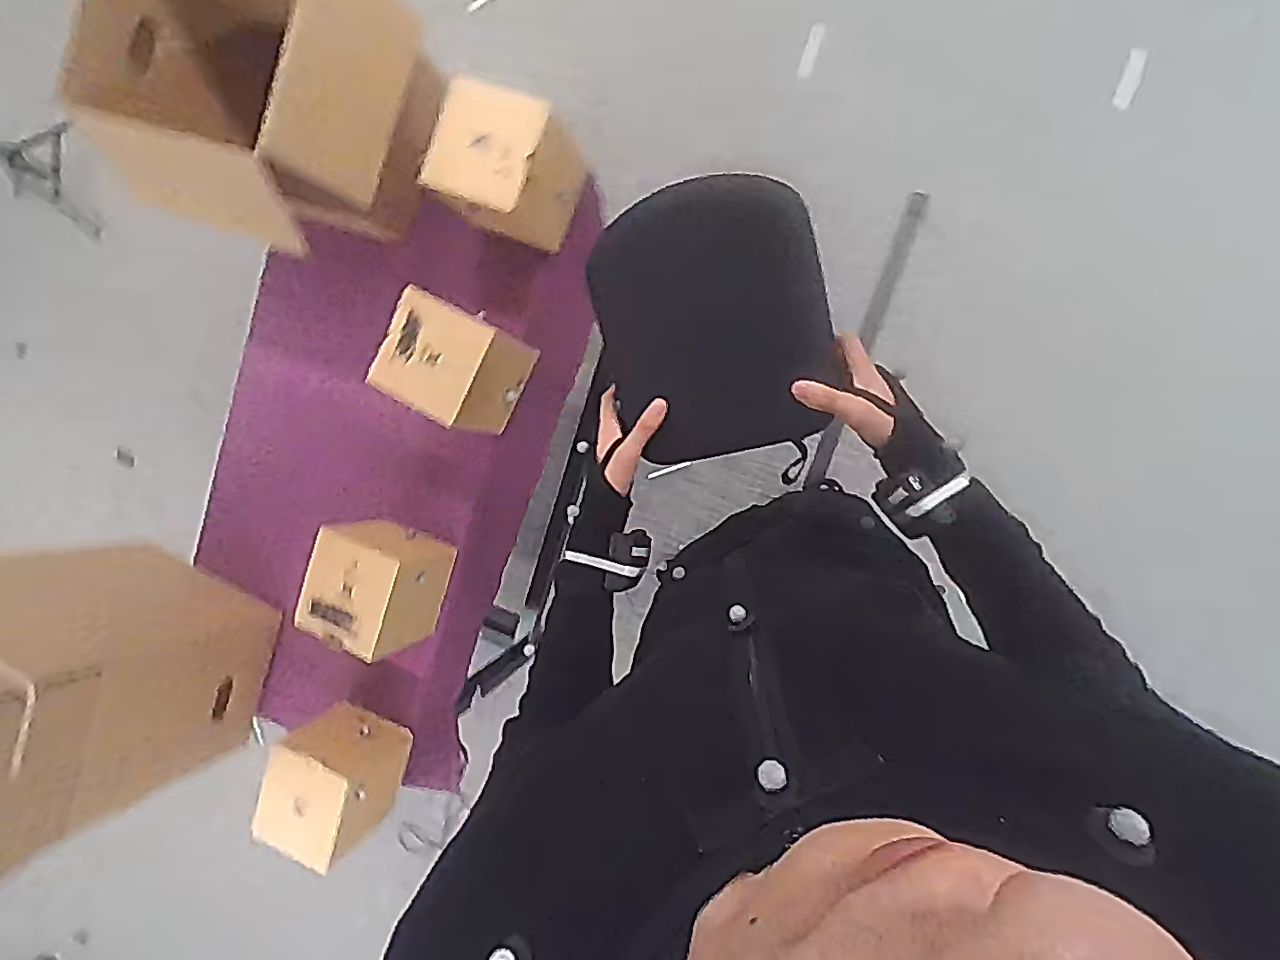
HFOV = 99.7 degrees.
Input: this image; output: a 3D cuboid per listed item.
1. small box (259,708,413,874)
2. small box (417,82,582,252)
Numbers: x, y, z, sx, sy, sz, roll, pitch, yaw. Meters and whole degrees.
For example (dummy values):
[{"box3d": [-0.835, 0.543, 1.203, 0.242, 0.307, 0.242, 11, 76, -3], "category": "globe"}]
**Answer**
[{"box3d": [-0.551, 0.561, 1.000, 0.168, 0.176, 0.179, 16, 94, 13], "category": "small box"}, {"box3d": [-0.223, -0.504, 0.894, 0.179, 0.176, 0.168, 24, 98, 13], "category": "small box"}]
